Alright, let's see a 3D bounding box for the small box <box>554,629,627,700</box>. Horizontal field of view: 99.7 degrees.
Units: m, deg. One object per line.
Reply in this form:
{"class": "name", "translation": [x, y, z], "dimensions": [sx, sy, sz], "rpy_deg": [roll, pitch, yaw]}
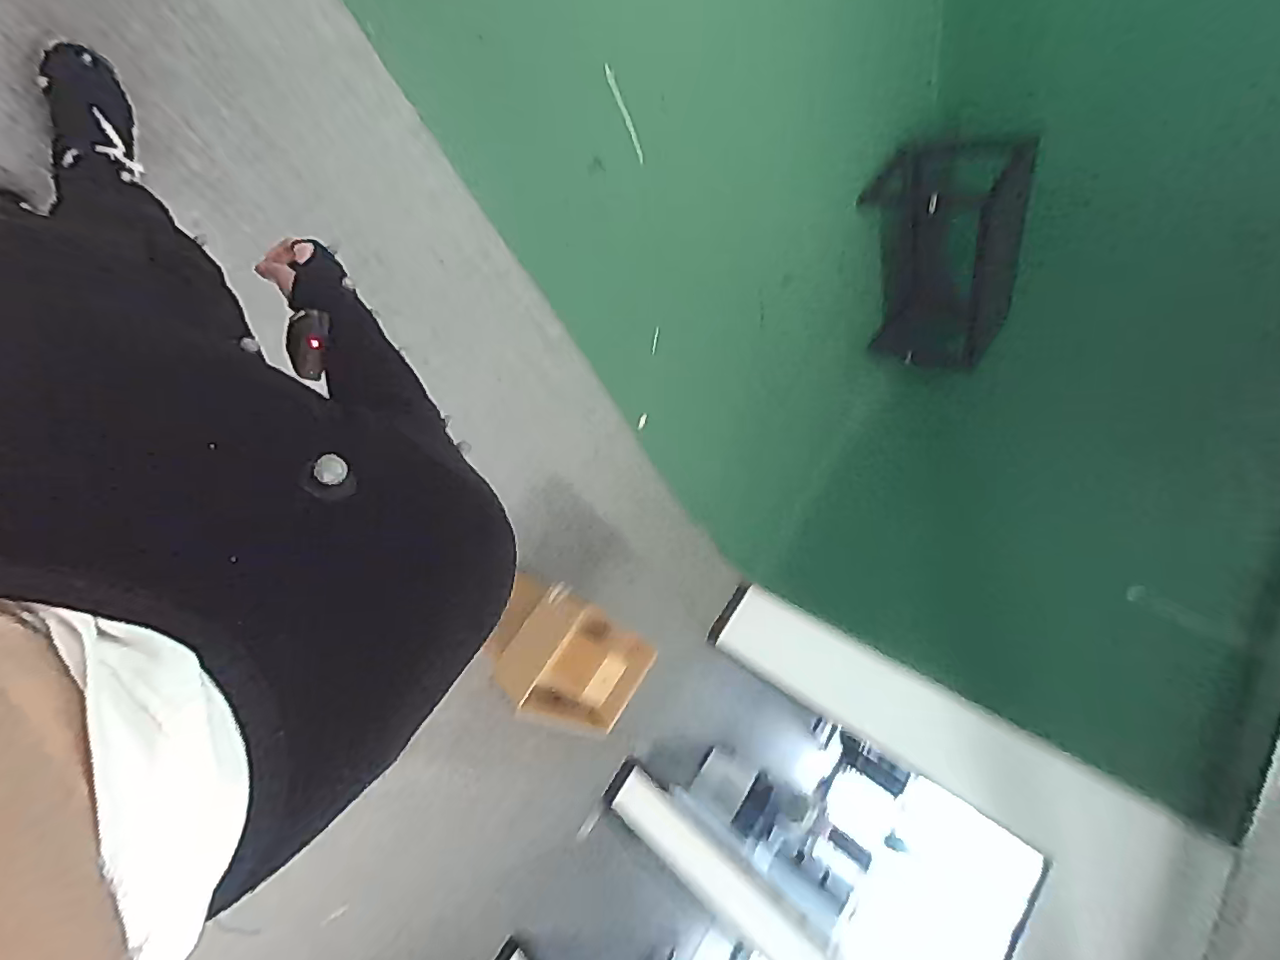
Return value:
{"class": "small box", "translation": [-0.187, 0.680, 2.002], "dimensions": [0.179, 0.176, 0.168], "rpy_deg": [-55, 142, -12]}
